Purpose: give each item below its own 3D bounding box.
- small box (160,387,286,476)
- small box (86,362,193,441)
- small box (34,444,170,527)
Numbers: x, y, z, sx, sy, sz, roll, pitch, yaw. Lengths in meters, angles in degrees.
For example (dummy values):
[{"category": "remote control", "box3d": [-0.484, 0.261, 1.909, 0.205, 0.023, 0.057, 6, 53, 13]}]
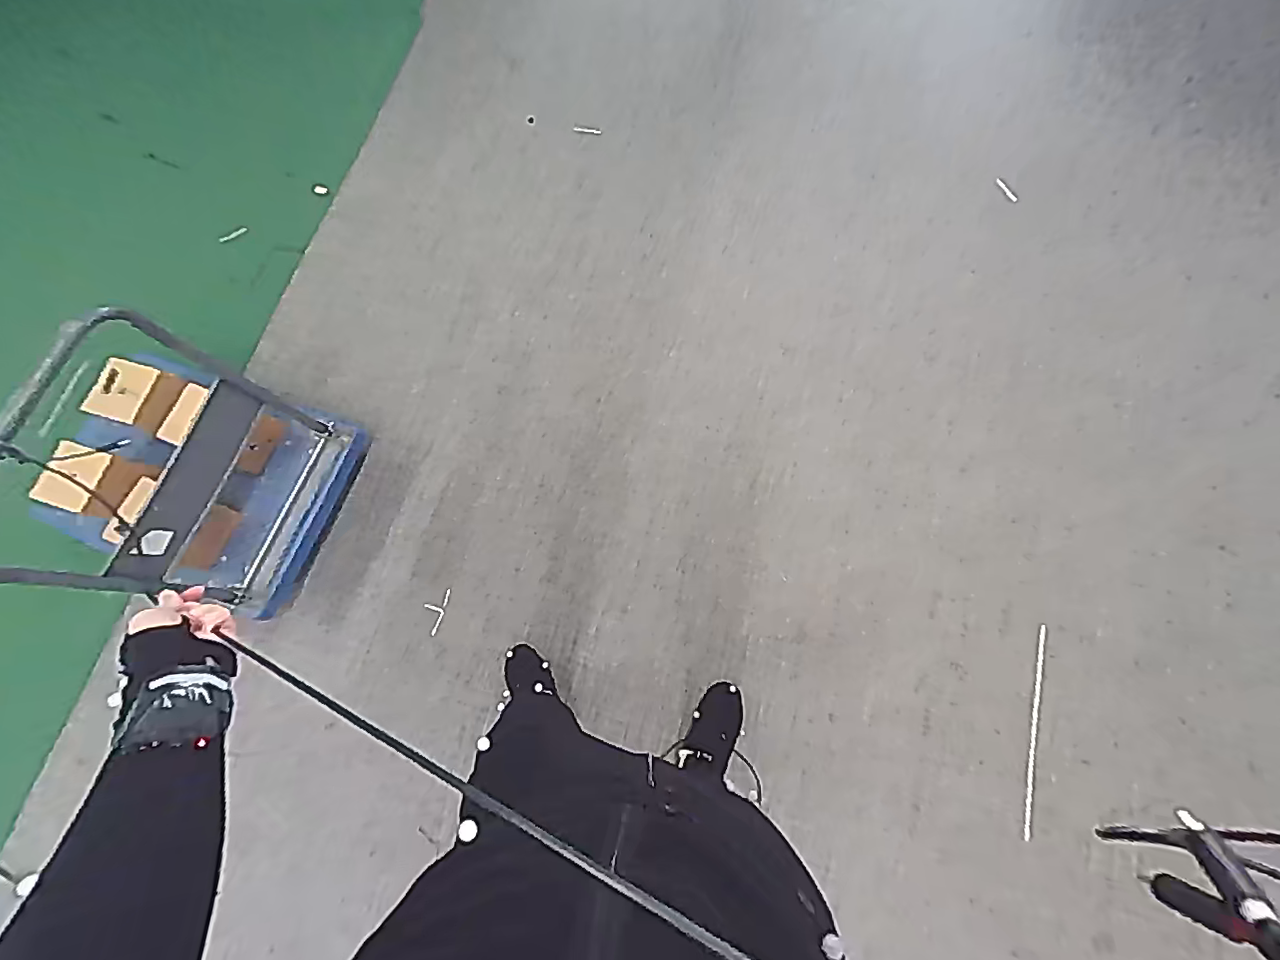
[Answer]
[{"category": "small box", "box3d": [-1.138, -0.127, 1.489, 0.179, 0.176, 0.168, 20, 77, 12]}, {"category": "small box", "box3d": [-1.389, -0.211, 1.544, 0.179, 0.176, 0.168, 15, 77, 10]}, {"category": "small box", "box3d": [-1.462, 0.022, 1.484, 0.179, 0.176, 0.168, 15, 75, 11]}]
